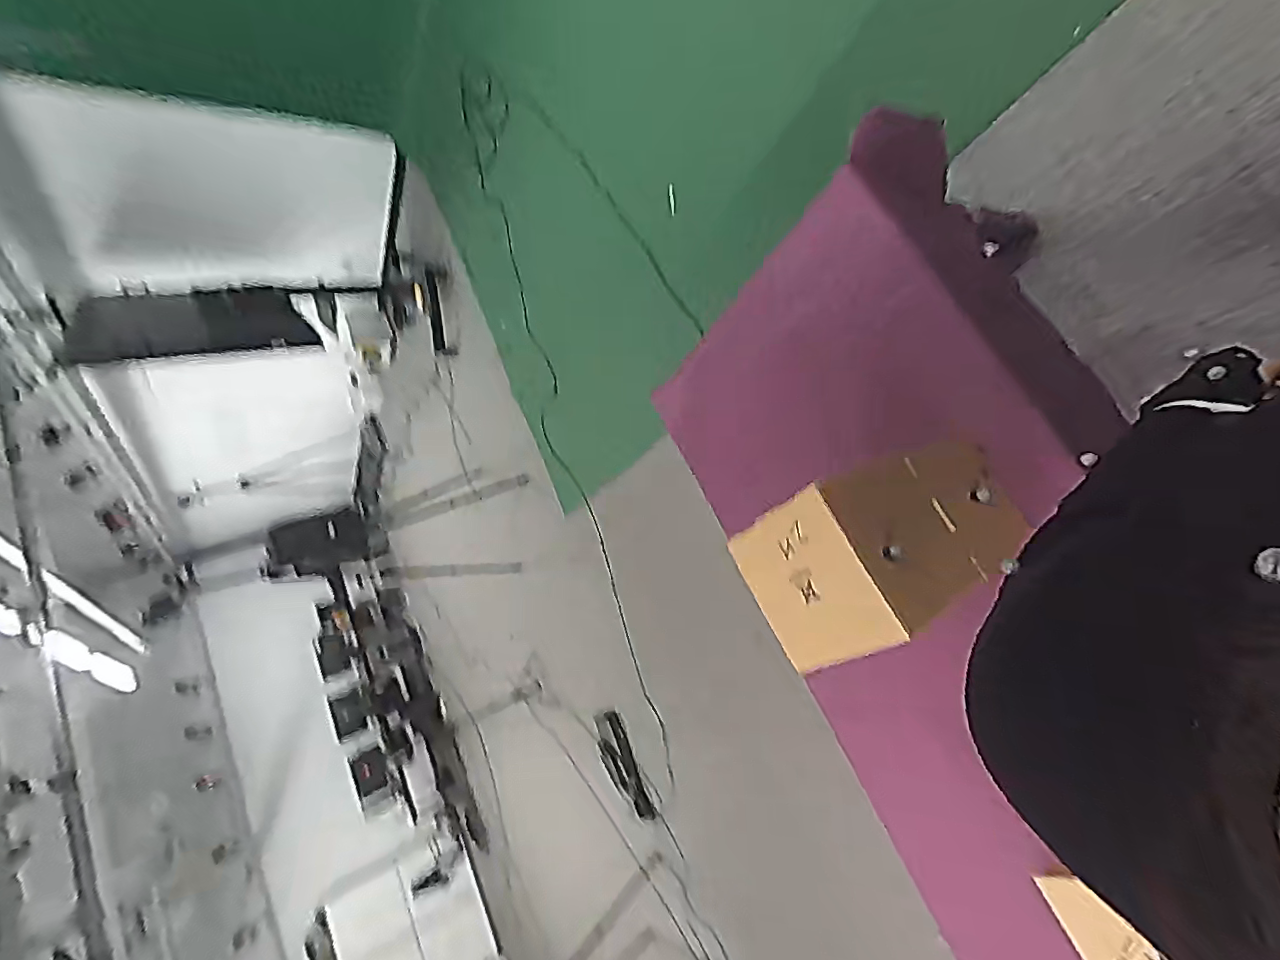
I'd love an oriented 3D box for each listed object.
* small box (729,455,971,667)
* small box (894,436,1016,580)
[{"bbox_3d":[0.249,0.093,0.646,0.179,0.176,0.168,62,142,15],"label":"small box"},{"bbox_3d":[0.377,0.058,0.745,0.179,0.176,0.168,-46,67,49],"label":"small box"}]
